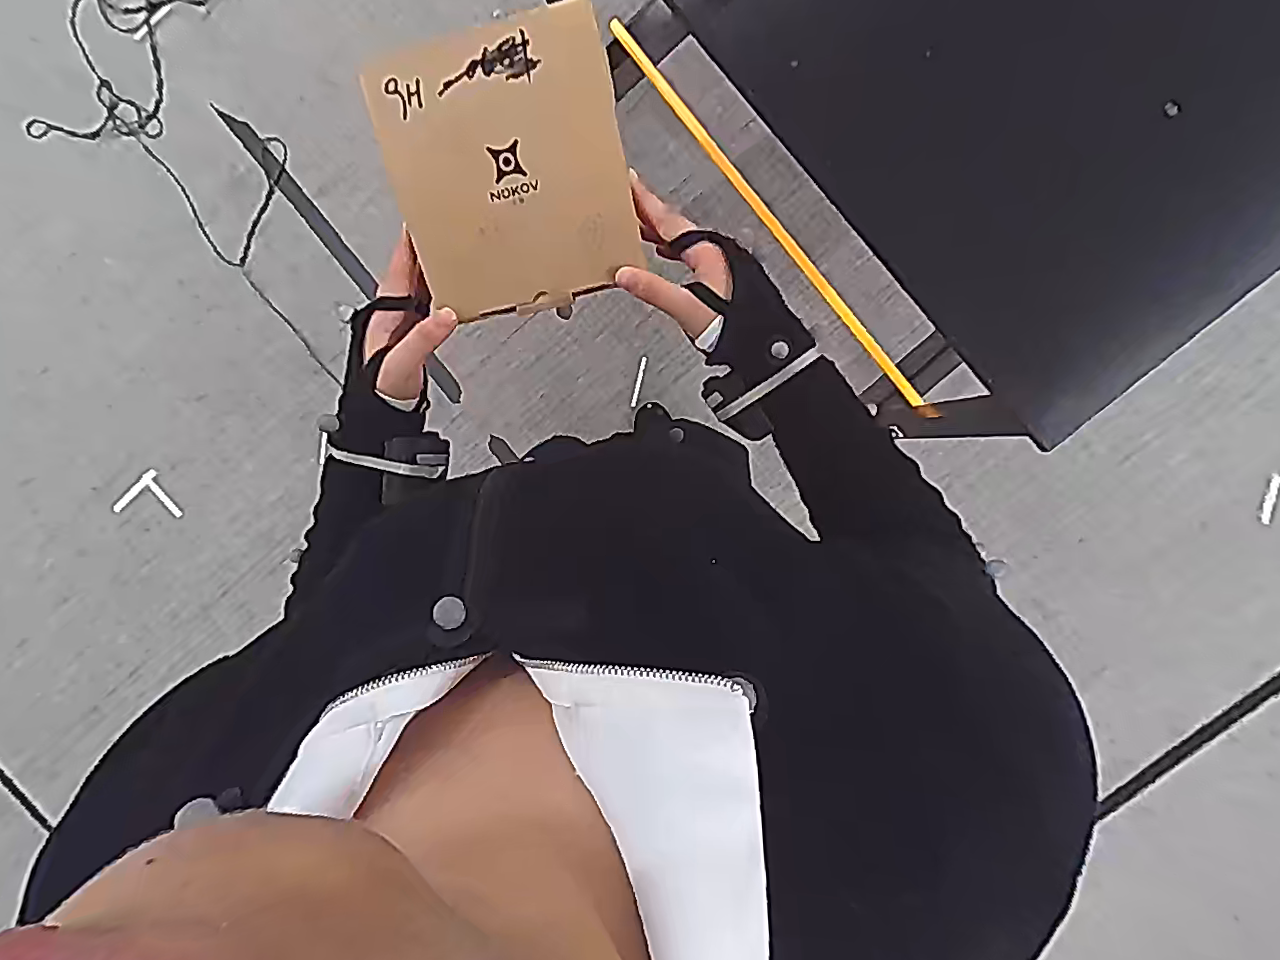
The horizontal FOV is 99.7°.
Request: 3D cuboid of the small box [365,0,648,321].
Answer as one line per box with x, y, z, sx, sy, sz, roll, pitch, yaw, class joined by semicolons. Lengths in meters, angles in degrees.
-0.088;-0.249;0.463;0.168;0.176;0.179;-12;111;6;small box
